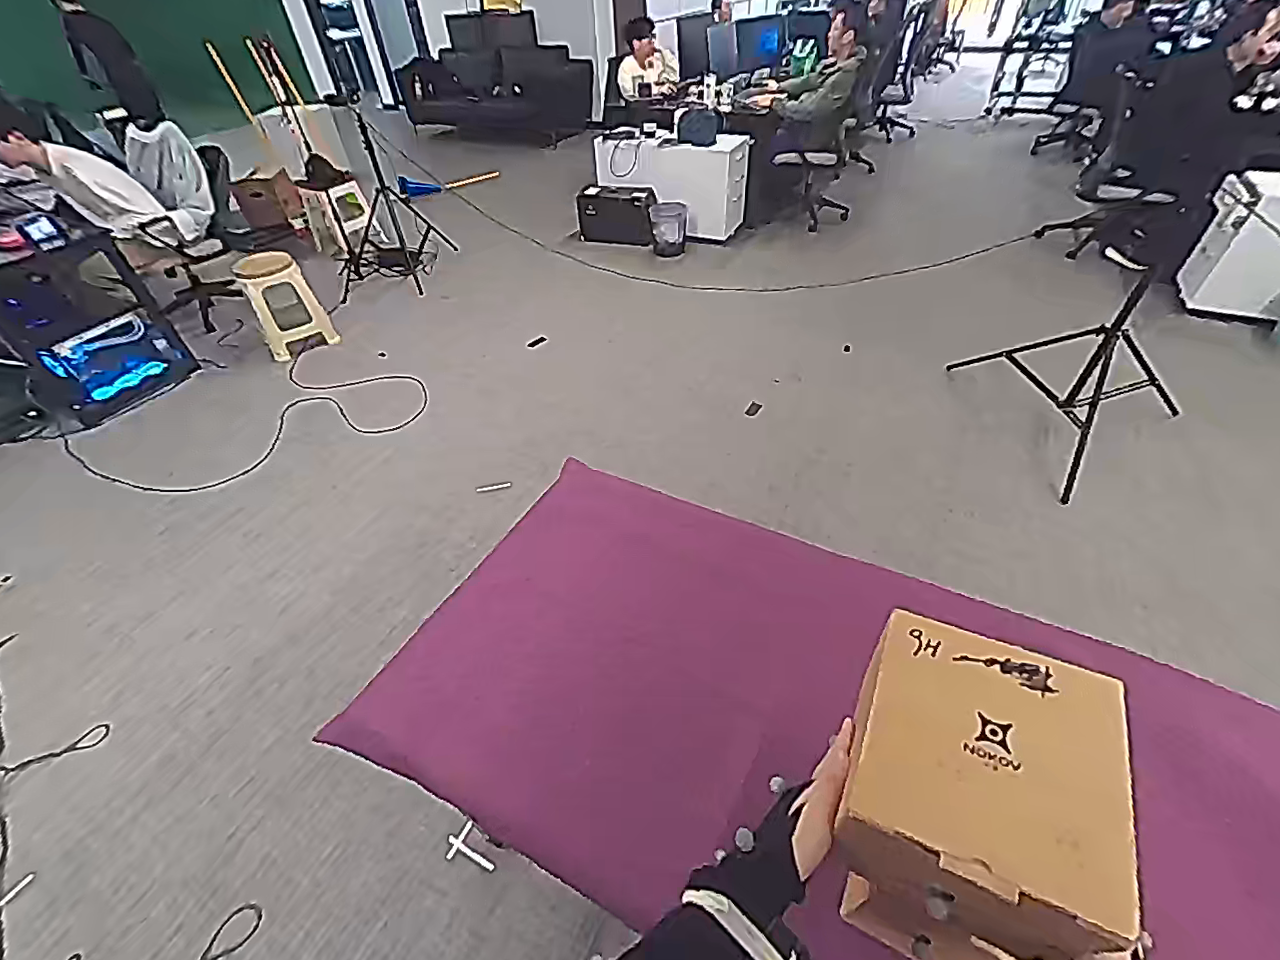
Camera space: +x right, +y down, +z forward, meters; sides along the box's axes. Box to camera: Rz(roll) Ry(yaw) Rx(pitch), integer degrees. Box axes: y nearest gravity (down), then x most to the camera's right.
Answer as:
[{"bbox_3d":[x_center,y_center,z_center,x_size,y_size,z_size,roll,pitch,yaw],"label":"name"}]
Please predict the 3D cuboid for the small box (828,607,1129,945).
[{"bbox_3d":[0.264,0.244,0.451,0.168,0.176,0.179,16,52,24],"label":"small box"}]

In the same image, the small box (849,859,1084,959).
[{"bbox_3d":[0.335,0.404,0.576,0.168,0.176,0.179,19,48,22],"label":"small box"}]
